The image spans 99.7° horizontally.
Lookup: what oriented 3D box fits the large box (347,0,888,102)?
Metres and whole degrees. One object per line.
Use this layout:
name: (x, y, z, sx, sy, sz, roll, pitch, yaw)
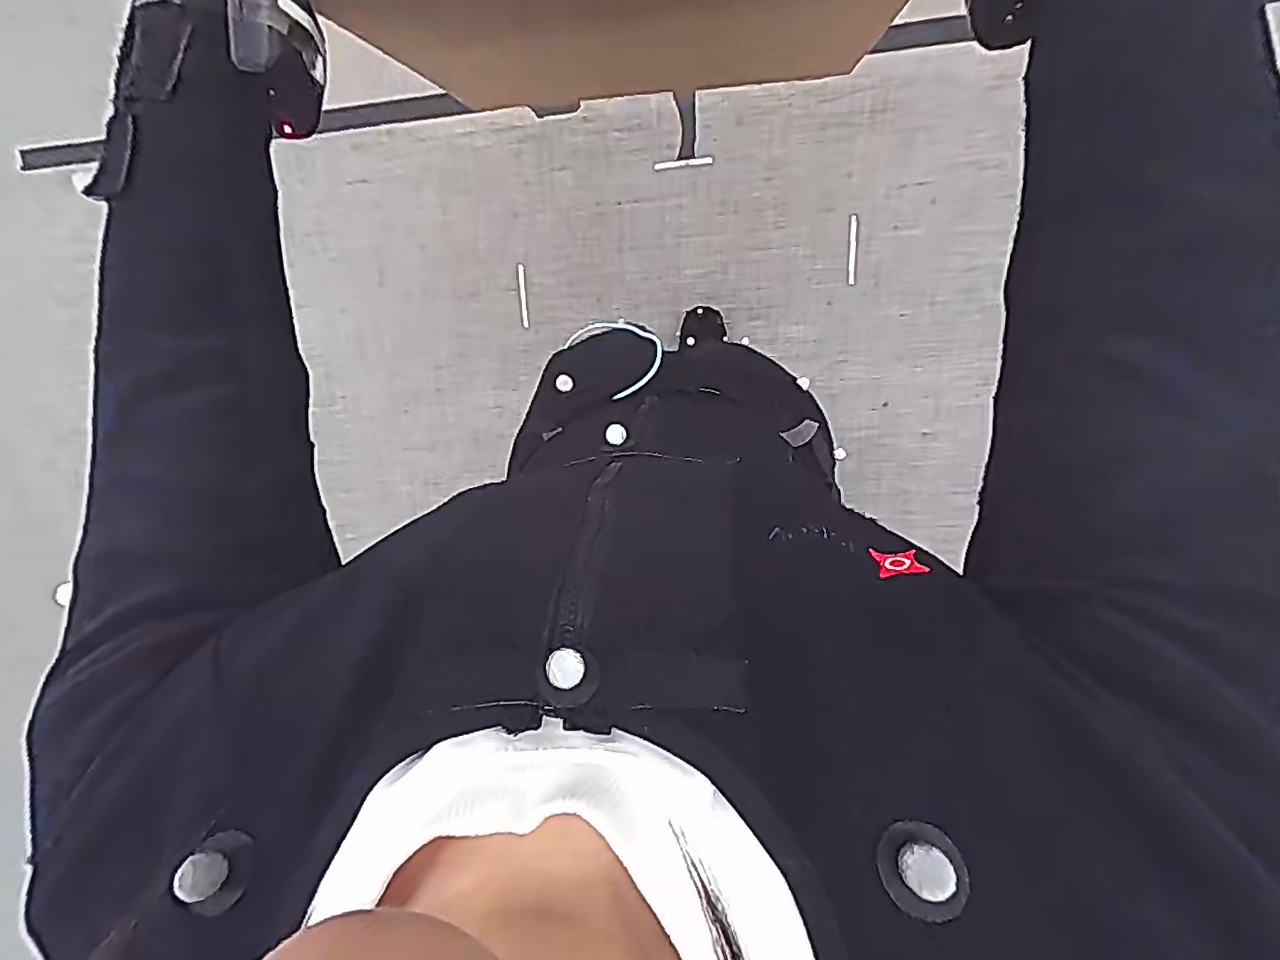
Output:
large box: (-0.007, -0.507, 0.382, 0.408, 0.320, 0.320, -2, 113, 6)
